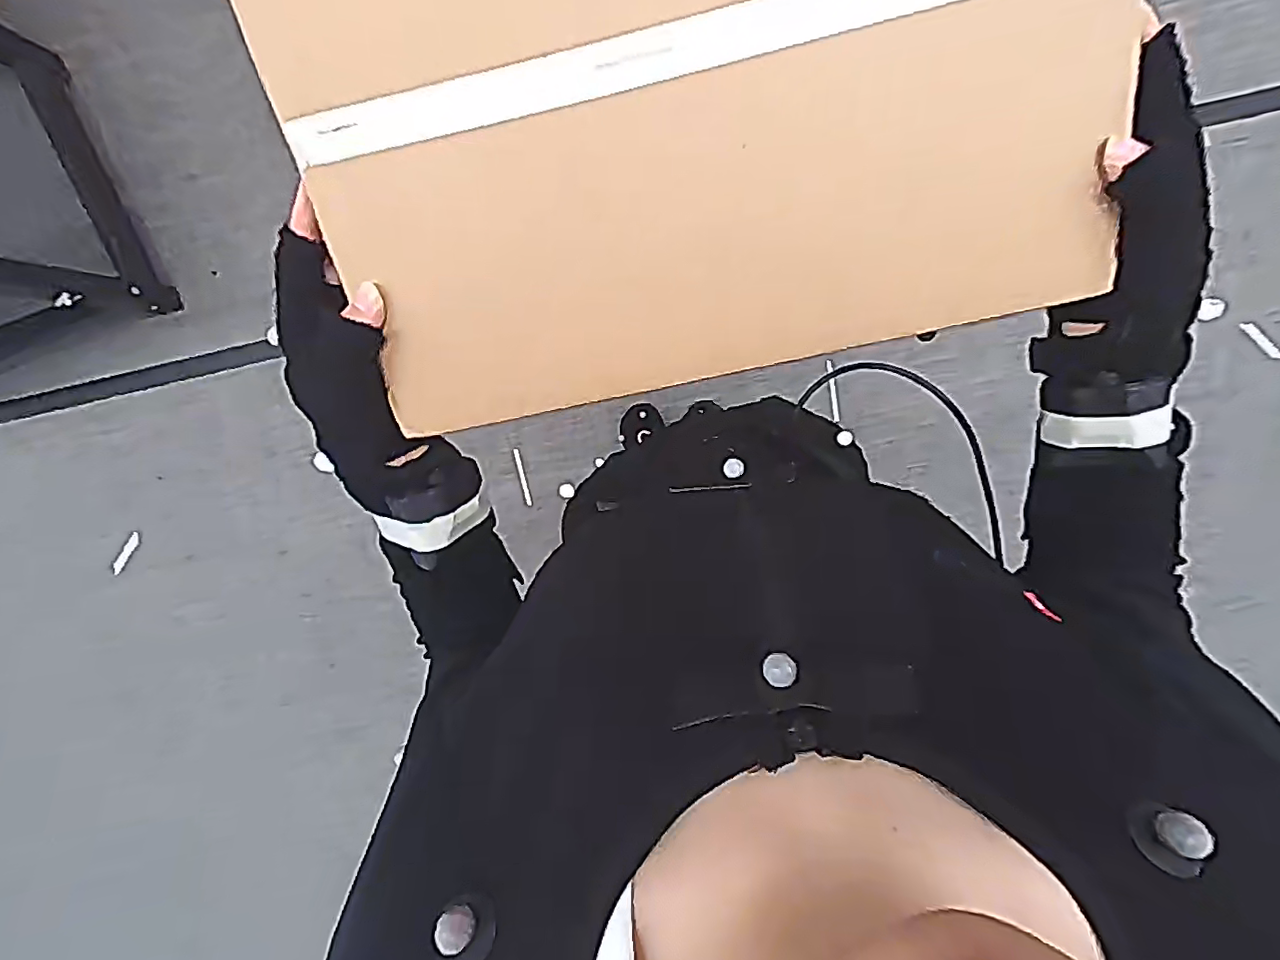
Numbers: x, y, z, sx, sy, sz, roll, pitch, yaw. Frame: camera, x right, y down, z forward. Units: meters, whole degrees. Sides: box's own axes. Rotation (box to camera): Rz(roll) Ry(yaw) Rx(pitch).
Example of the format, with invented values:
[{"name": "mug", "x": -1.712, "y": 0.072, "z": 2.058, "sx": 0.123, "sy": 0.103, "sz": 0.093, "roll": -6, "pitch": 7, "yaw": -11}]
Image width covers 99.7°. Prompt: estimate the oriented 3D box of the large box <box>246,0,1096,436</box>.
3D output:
[{"name": "large box", "x": 0.021, "y": -0.261, "z": 0.403, "sx": 0.408, "sy": 0.320, "sz": 0.320, "roll": -11, "pitch": 111, "yaw": 4}]
